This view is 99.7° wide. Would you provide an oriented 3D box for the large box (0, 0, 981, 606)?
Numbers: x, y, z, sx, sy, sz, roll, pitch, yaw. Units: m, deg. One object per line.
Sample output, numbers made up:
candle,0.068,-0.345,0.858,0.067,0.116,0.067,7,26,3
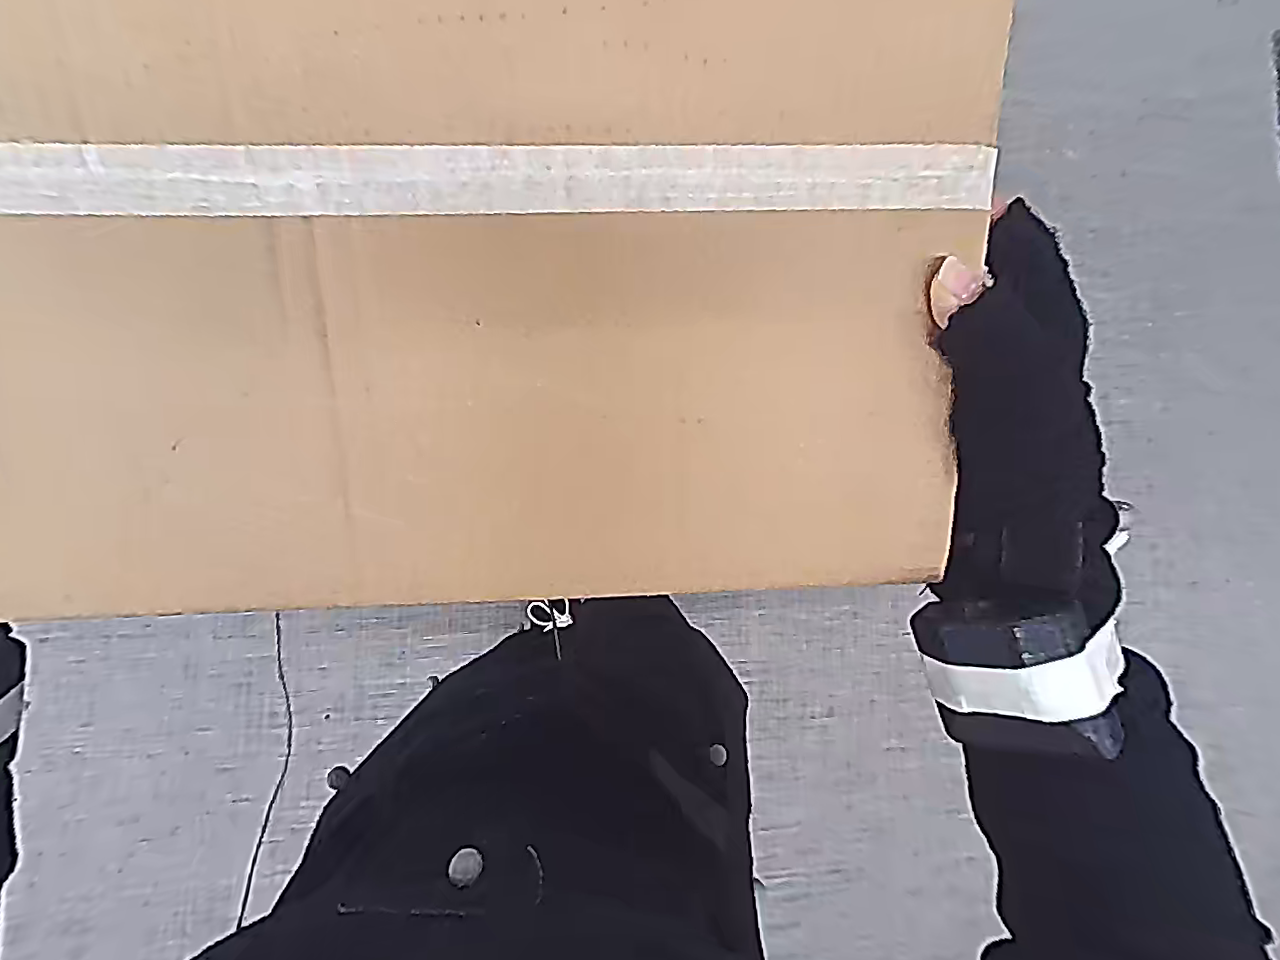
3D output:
large box,-0.084,-0.137,0.343,0.408,0.320,0.320,-1,103,-4
